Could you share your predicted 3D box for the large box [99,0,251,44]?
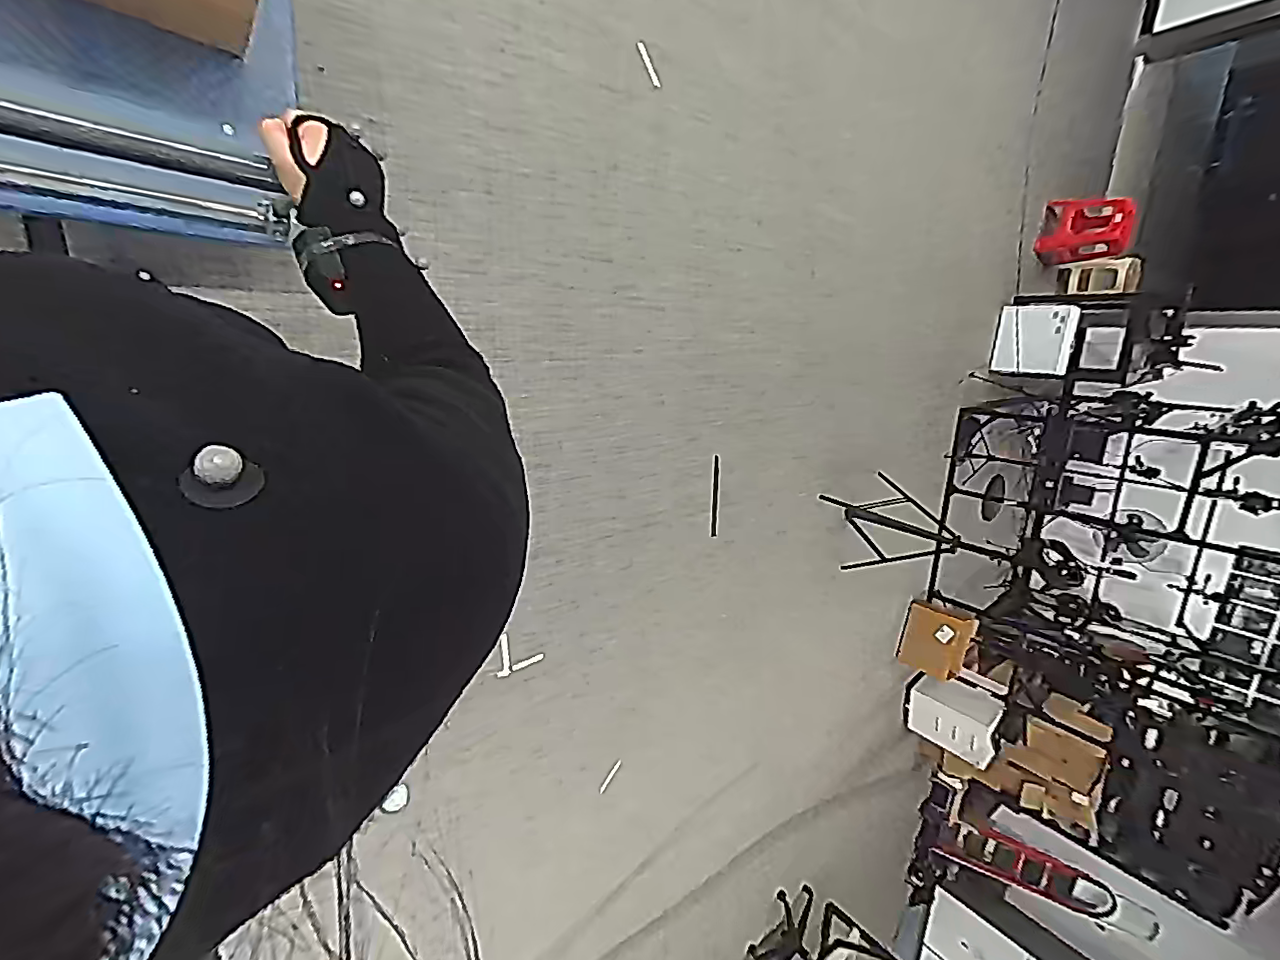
[{"bbox_3d":[-0.763,-0.867,0.698,0.408,0.320,0.320,-5,106,-39],"label":"large box"}]
